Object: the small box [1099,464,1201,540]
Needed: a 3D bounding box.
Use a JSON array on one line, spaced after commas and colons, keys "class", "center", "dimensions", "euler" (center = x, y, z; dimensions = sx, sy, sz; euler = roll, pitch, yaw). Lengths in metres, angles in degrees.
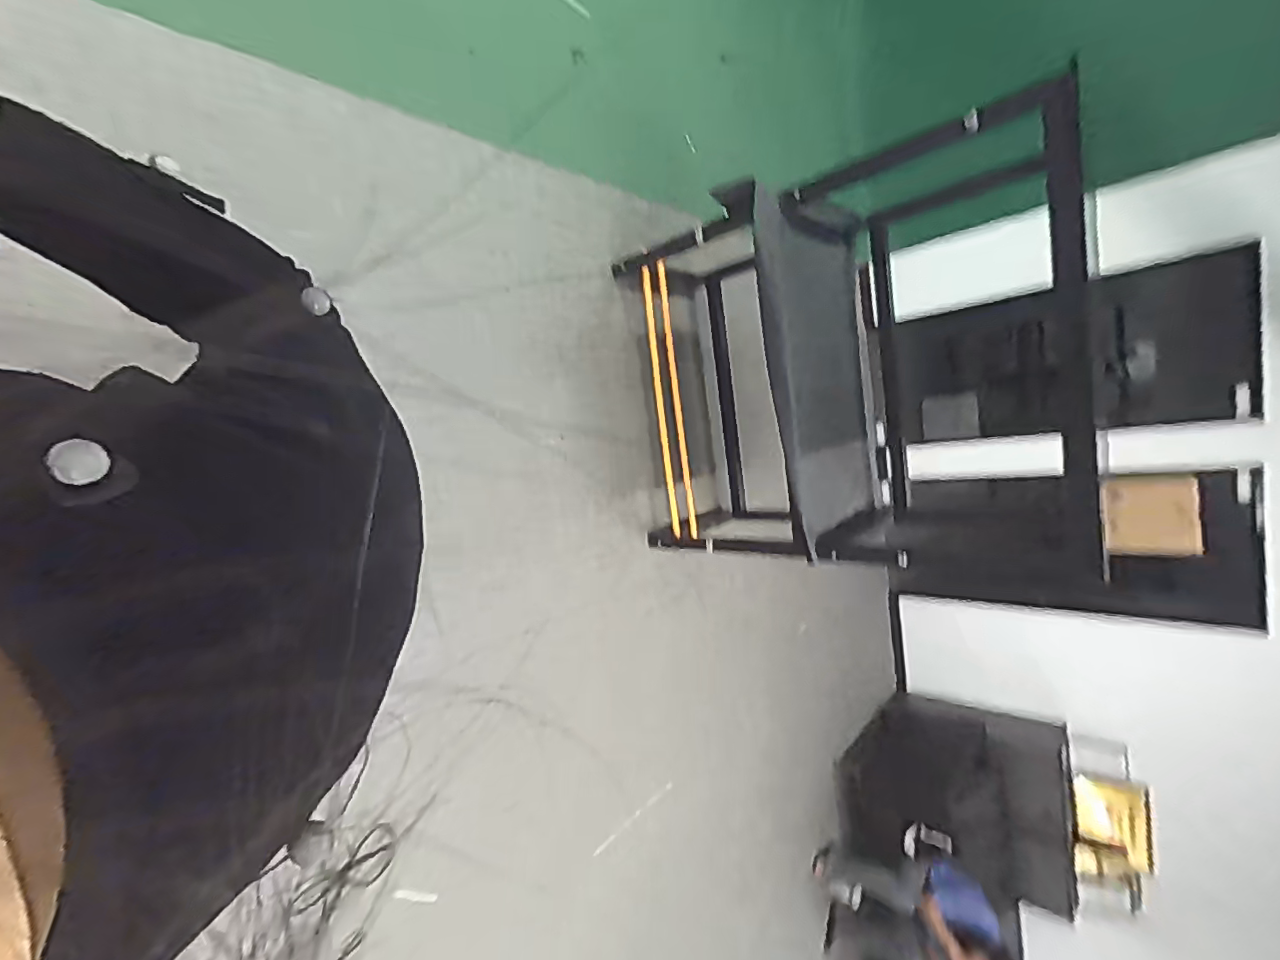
[{"class": "small box", "center": [1.252, 0.054, 1.334], "dimensions": [0.179, 0.176, 0.168], "euler": [-10, 95, -48]}]
